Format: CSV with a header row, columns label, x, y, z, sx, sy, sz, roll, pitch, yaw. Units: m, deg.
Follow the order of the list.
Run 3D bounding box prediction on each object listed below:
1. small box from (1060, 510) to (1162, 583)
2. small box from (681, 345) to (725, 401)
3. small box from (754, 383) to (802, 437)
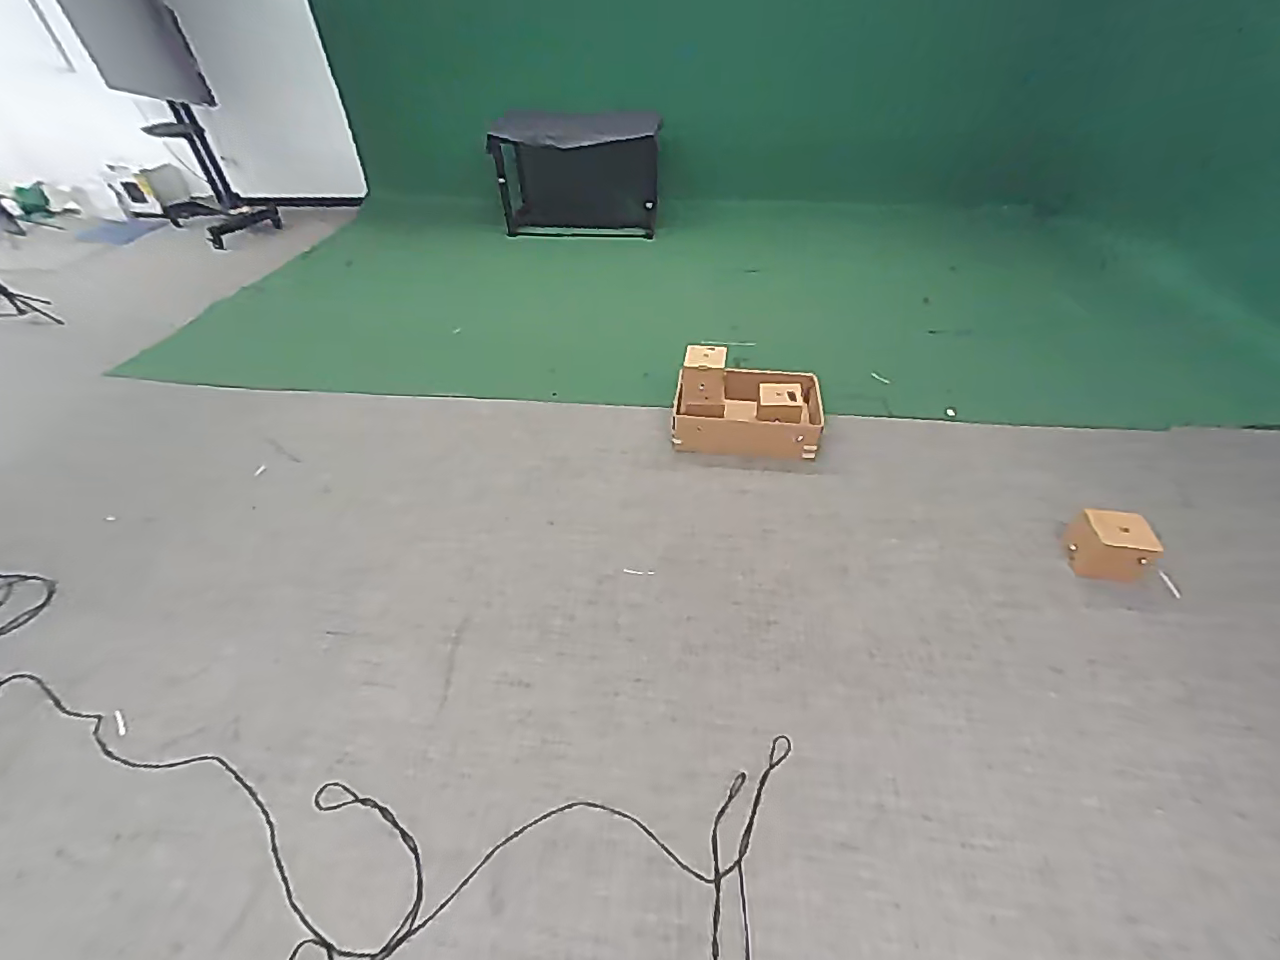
label,x,y,z,sx,sy,sz,roll,pitch,yaw
small box,1.564,0.224,1.810,0.179,0.176,0.168,7,43,10
small box,0.265,-0.445,2.257,0.168,0.176,0.179,6,44,8
small box,0.590,-0.301,2.332,0.179,0.176,0.168,4,44,7
